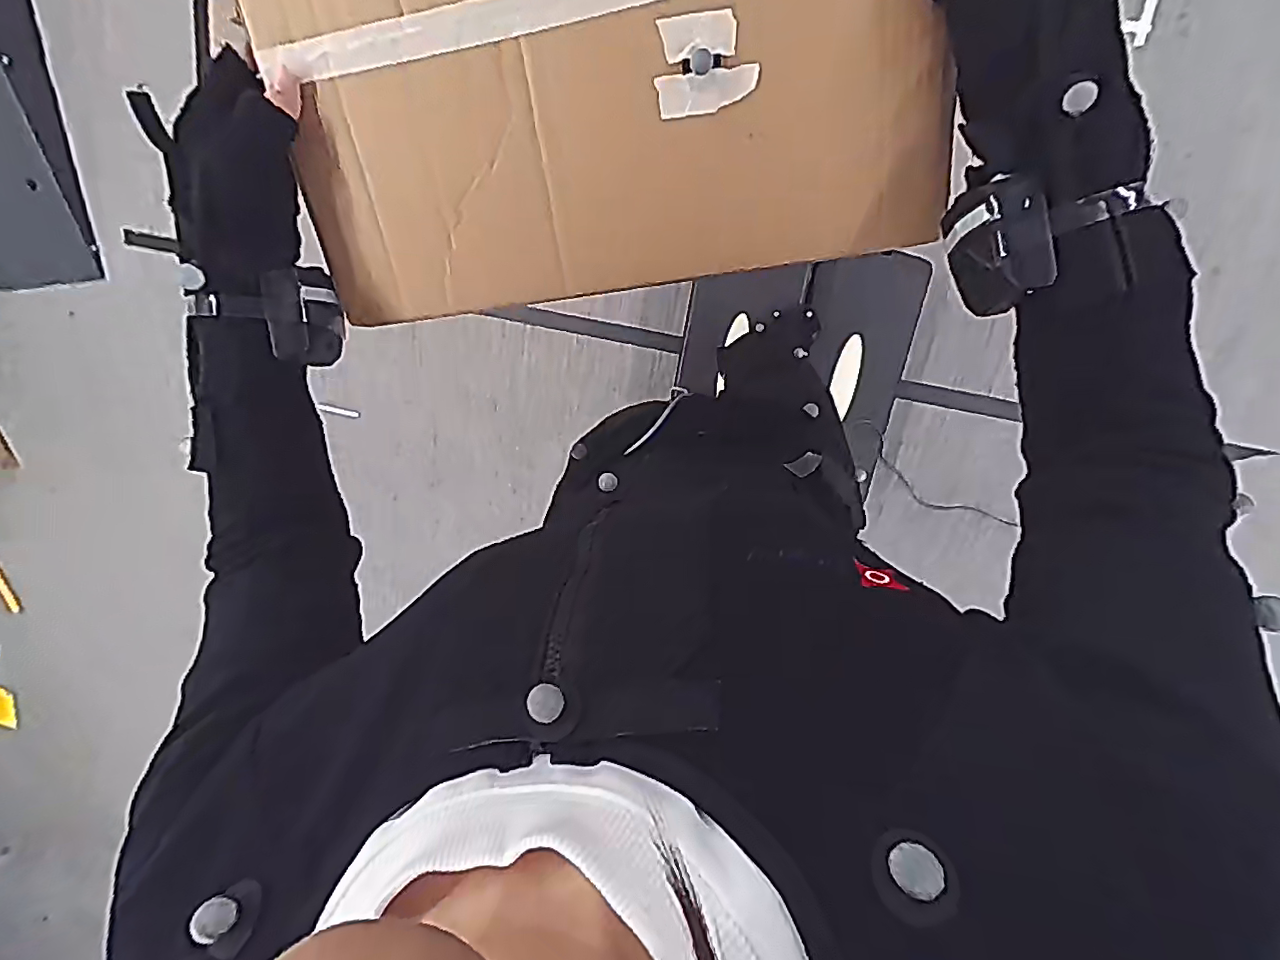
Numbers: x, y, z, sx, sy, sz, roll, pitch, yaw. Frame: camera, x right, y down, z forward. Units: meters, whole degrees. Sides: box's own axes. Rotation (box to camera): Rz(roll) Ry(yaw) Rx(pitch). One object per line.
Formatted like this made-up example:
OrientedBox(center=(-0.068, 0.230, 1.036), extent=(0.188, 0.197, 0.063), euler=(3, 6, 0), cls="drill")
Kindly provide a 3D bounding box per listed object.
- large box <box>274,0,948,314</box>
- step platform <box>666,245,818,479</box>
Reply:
OrientedBox(center=(-0.013, -0.340, 0.454), extent=(0.408, 0.320, 0.320), euler=(-5, 113, 9), cls="large box")
OrientedBox(center=(0.259, -0.346, 1.428), extent=(0.286, 0.204, 0.684), euler=(11, 104, 8), cls="step platform")
